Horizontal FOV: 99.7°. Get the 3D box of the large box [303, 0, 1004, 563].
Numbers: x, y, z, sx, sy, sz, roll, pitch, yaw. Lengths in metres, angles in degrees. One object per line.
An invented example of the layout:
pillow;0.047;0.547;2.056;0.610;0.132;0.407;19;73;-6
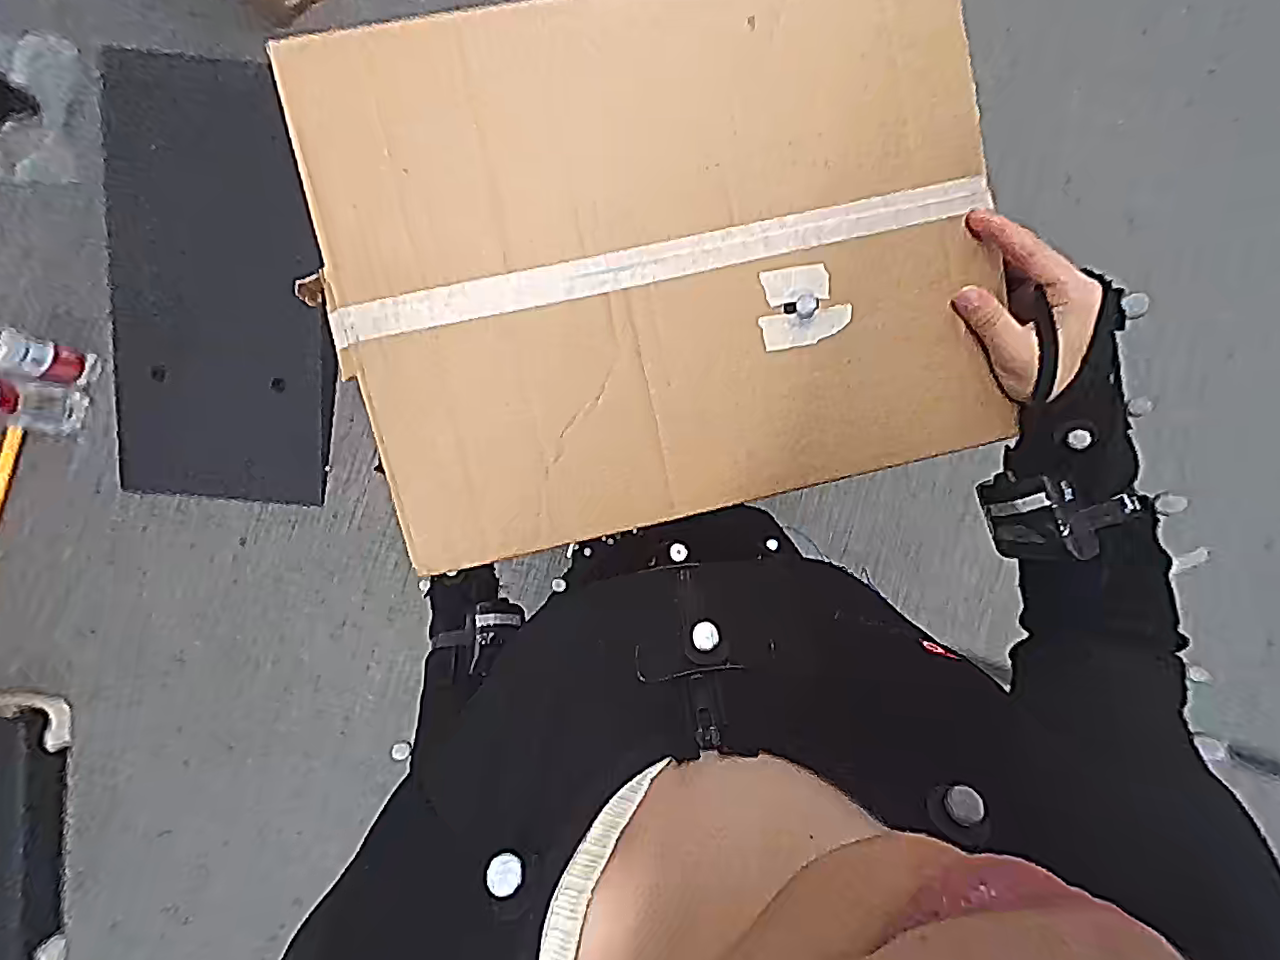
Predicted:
large box;0.012;-0.150;0.488;0.408;0.320;0.320;-13;97;-5
